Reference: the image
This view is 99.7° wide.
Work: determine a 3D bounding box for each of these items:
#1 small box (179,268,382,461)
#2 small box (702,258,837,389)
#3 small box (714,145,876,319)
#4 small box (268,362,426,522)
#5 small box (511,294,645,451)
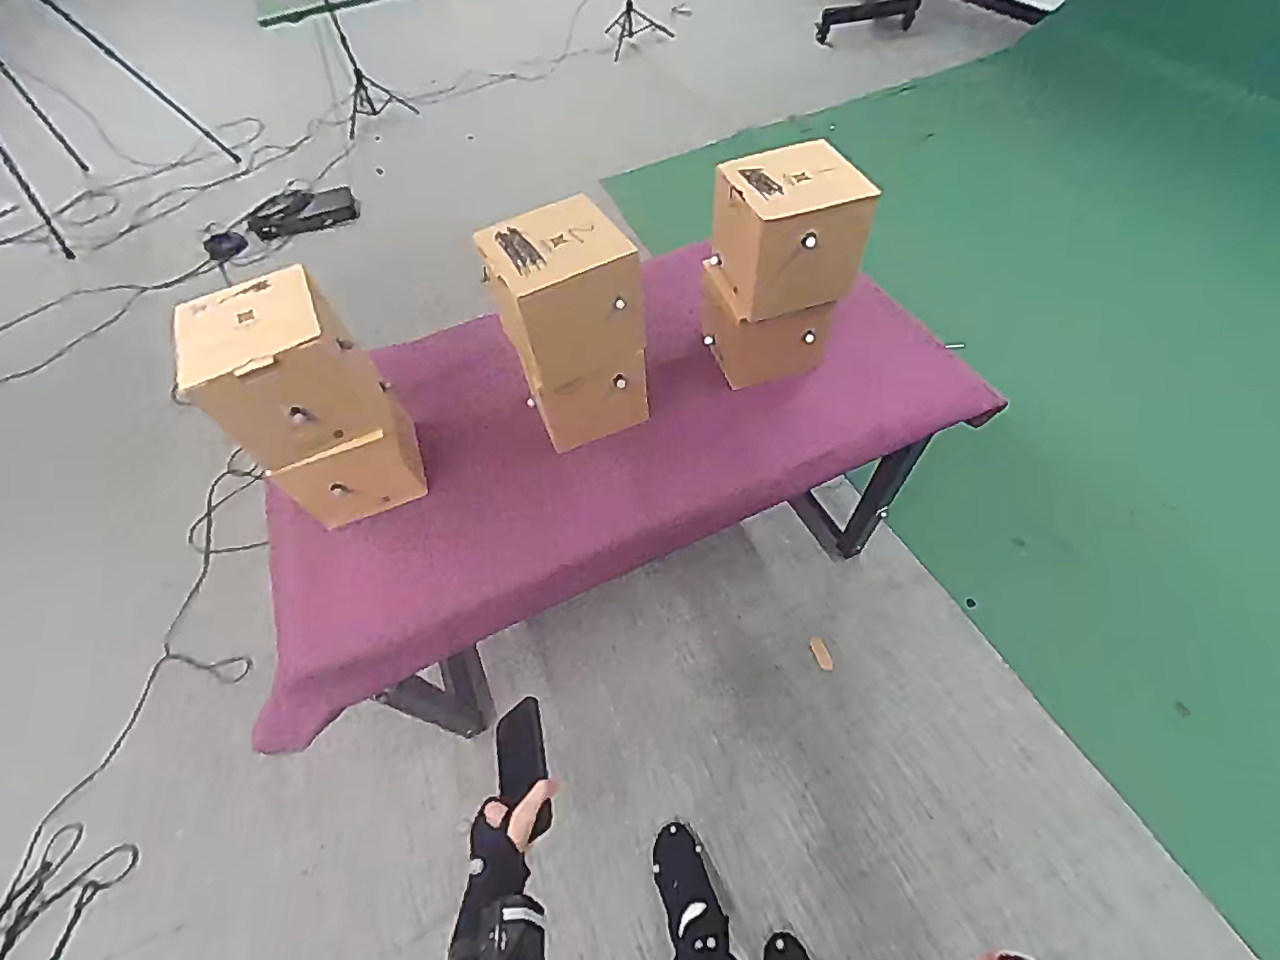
[{"bbox_3d":[-0.481,-0.149,0.741,0.168,0.176,0.179,-25,59,-12],"label":"small box"},{"bbox_3d":[0.219,-0.291,0.970,0.179,0.176,0.168,-16,56,-5],"label":"small box"},{"bbox_3d":[0.222,-0.372,0.828,0.179,0.176,0.168,-16,56,-6],"label":"small box"},{"bbox_3d":[-0.465,-0.053,0.874,0.168,0.176,0.179,-21,57,-9],"label":"small box"},{"bbox_3d":[-0.098,-0.179,0.923,0.179,0.176,0.168,-22,57,-9],"label":"small box"}]
